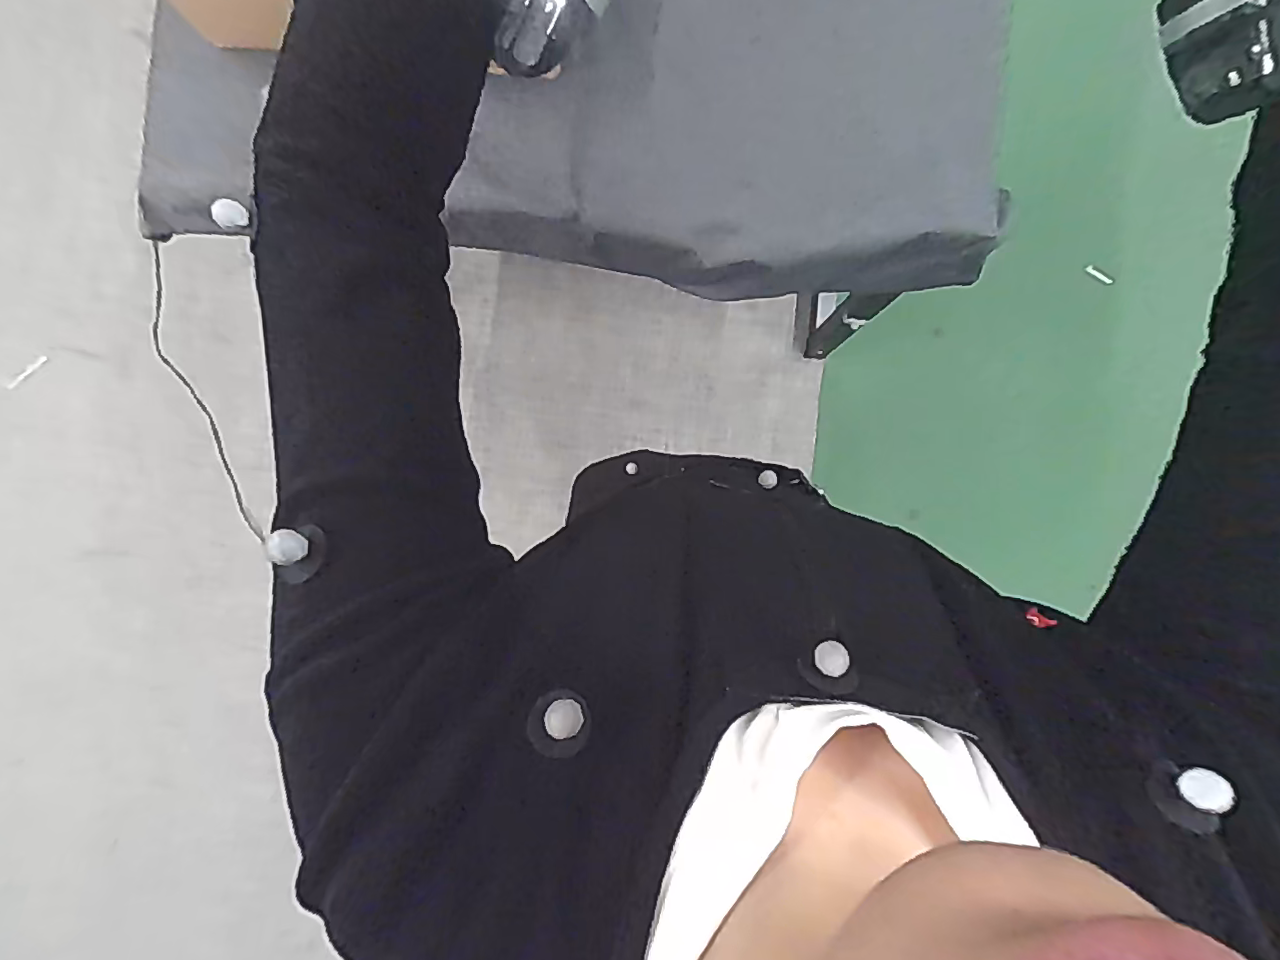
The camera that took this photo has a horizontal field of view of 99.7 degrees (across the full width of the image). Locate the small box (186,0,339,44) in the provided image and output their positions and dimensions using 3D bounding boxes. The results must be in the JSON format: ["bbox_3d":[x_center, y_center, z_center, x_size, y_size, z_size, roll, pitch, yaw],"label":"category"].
[{"bbox_3d":[-0.516,-0.705,0.692,0.179,0.176,0.168,4,89,1],"label":"small box"}]

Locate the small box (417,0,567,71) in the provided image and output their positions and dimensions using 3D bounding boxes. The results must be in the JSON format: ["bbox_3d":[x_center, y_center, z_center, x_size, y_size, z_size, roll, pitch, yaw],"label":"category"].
[{"bbox_3d":[-0.187,-0.664,0.683,0.168,0.176,0.179,6,90,2],"label":"small box"}]
